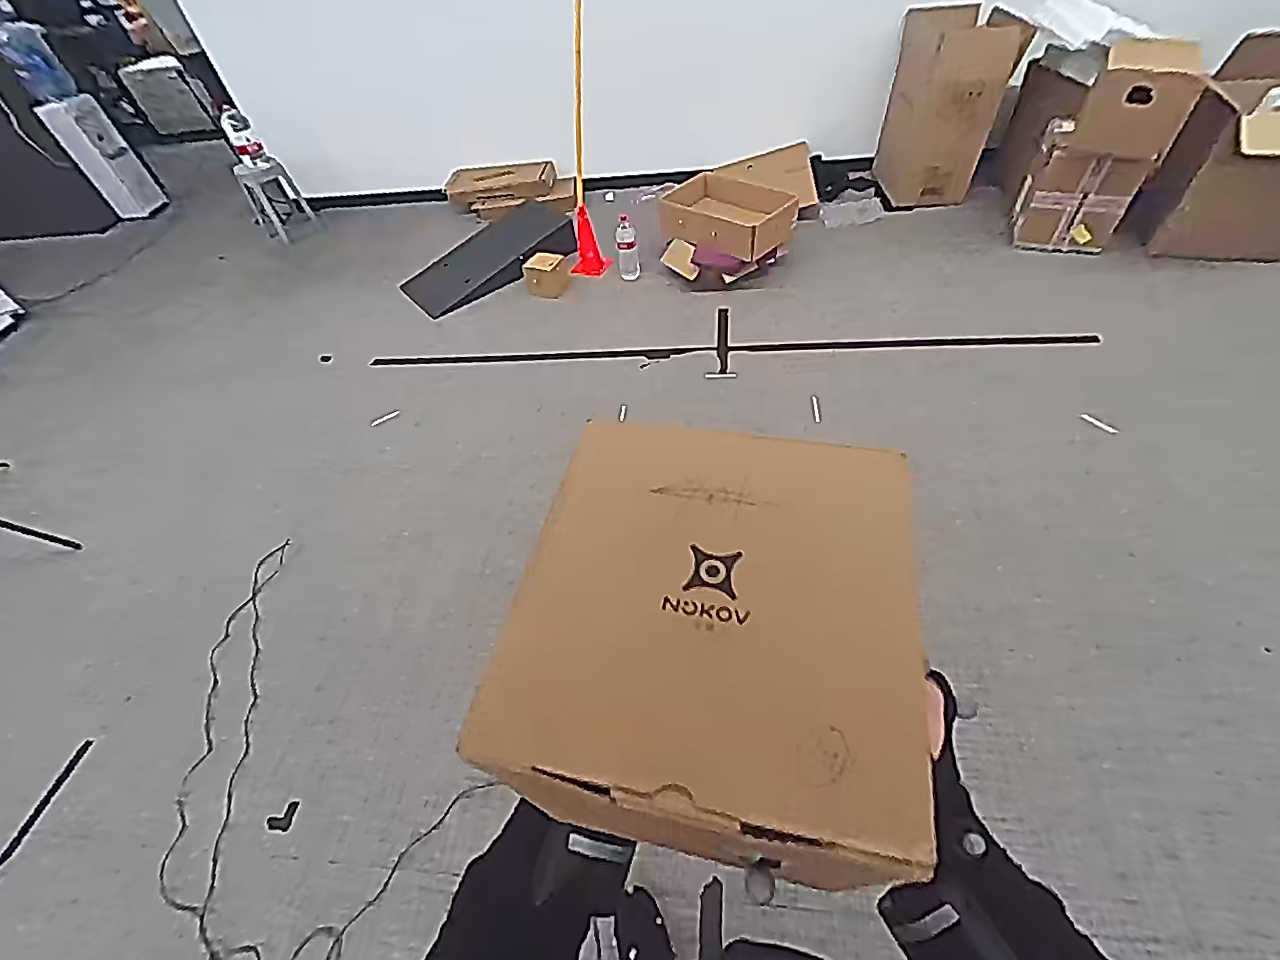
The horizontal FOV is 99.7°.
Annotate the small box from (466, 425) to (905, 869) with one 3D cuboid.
[{"bbox_3d":[0.035,0.095,0.305,0.168,0.176,0.179,8,52,11],"label":"small box"}]
